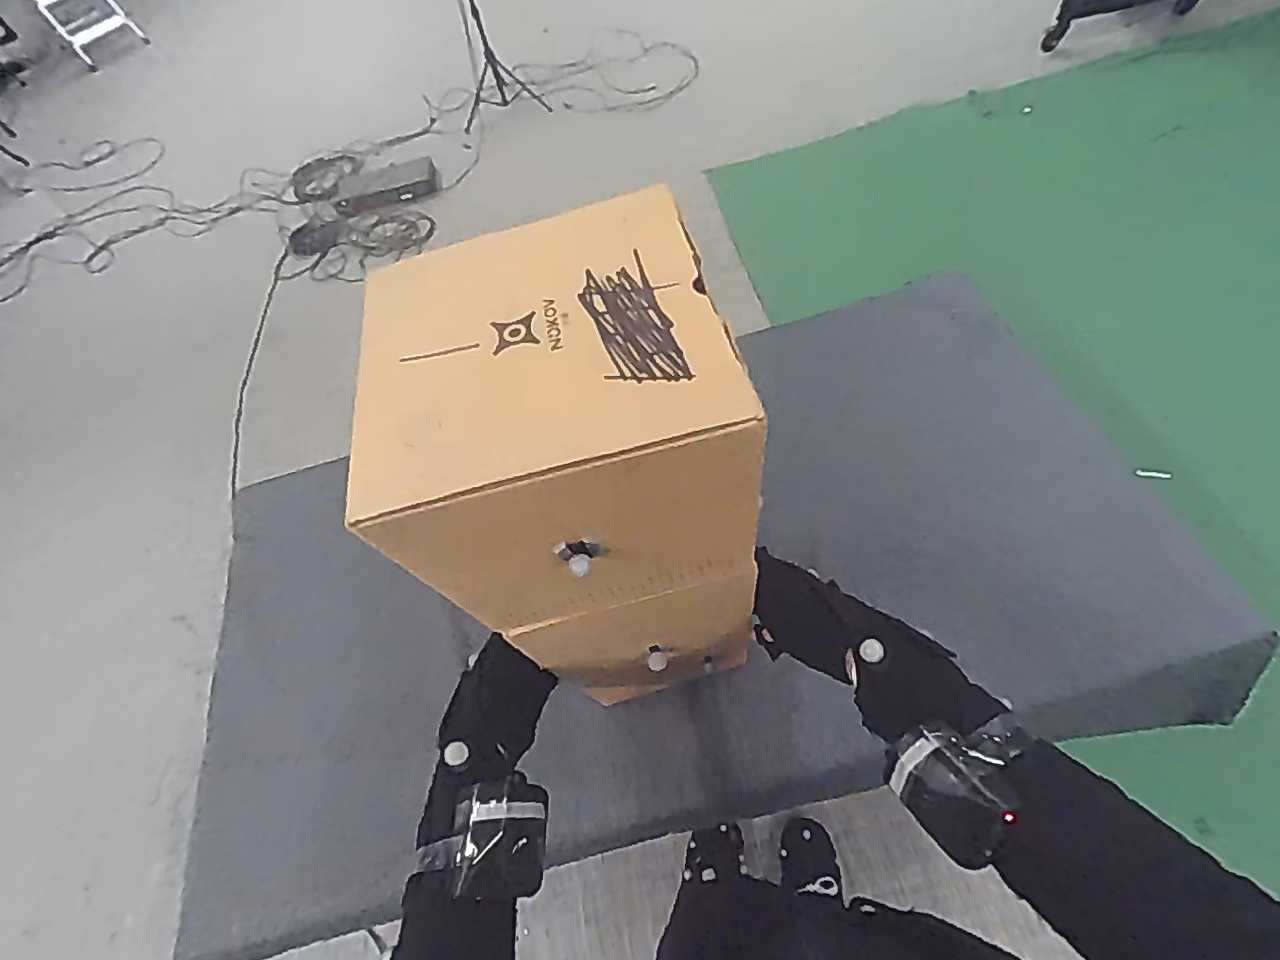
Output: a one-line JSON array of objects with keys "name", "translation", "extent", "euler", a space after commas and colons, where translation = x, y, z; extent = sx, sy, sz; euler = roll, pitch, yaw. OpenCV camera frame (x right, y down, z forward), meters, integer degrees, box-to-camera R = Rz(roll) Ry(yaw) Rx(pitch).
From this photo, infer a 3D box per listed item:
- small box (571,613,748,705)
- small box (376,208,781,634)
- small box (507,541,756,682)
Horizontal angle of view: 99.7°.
[{"name": "small box", "translation": [0.011, 0.139, 0.613], "extent": [0.179, 0.176, 0.168], "euler": [-19, 58, 0]}, {"name": "small box", "translation": [-0.035, -0.025, 0.332], "extent": [0.179, 0.176, 0.168], "euler": [-17, 59, -2]}, {"name": "small box", "translation": [-0.012, 0.059, 0.471], "extent": [0.179, 0.176, 0.168], "euler": [-15, 57, 0]}]
